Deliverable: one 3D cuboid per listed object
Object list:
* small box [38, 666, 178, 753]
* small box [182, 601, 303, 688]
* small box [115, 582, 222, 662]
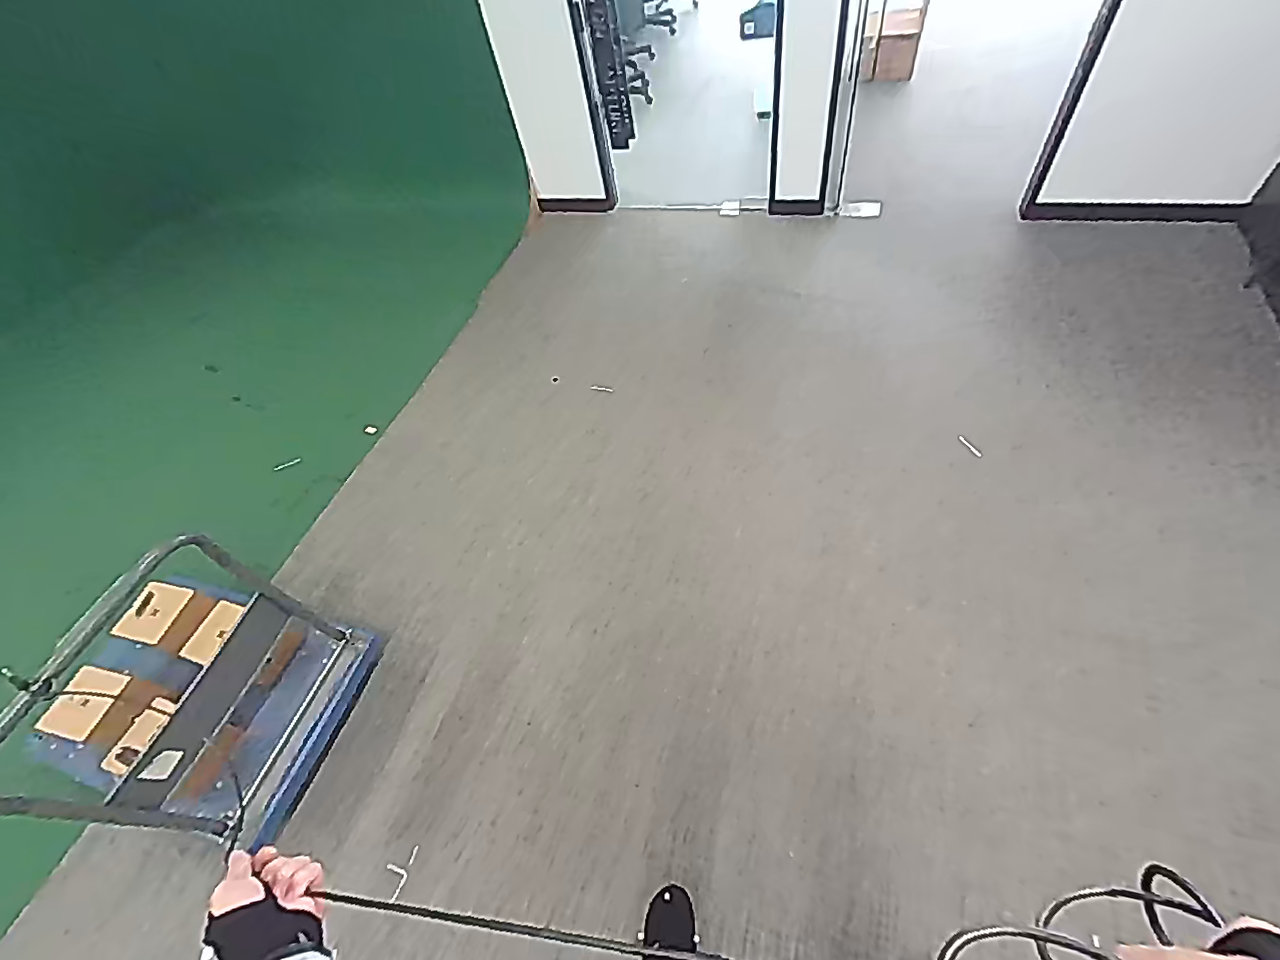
[{"bbox_3d":[-1.429,0.627,1.469,0.179,0.176,0.168,7,54,15],"label":"small box"},{"bbox_3d":[-1.116,0.471,1.532,0.179,0.176,0.168,11,56,17],"label":"small box"},{"bbox_3d":[-1.371,0.426,1.609,0.179,0.176,0.168,7,56,14],"label":"small box"}]
